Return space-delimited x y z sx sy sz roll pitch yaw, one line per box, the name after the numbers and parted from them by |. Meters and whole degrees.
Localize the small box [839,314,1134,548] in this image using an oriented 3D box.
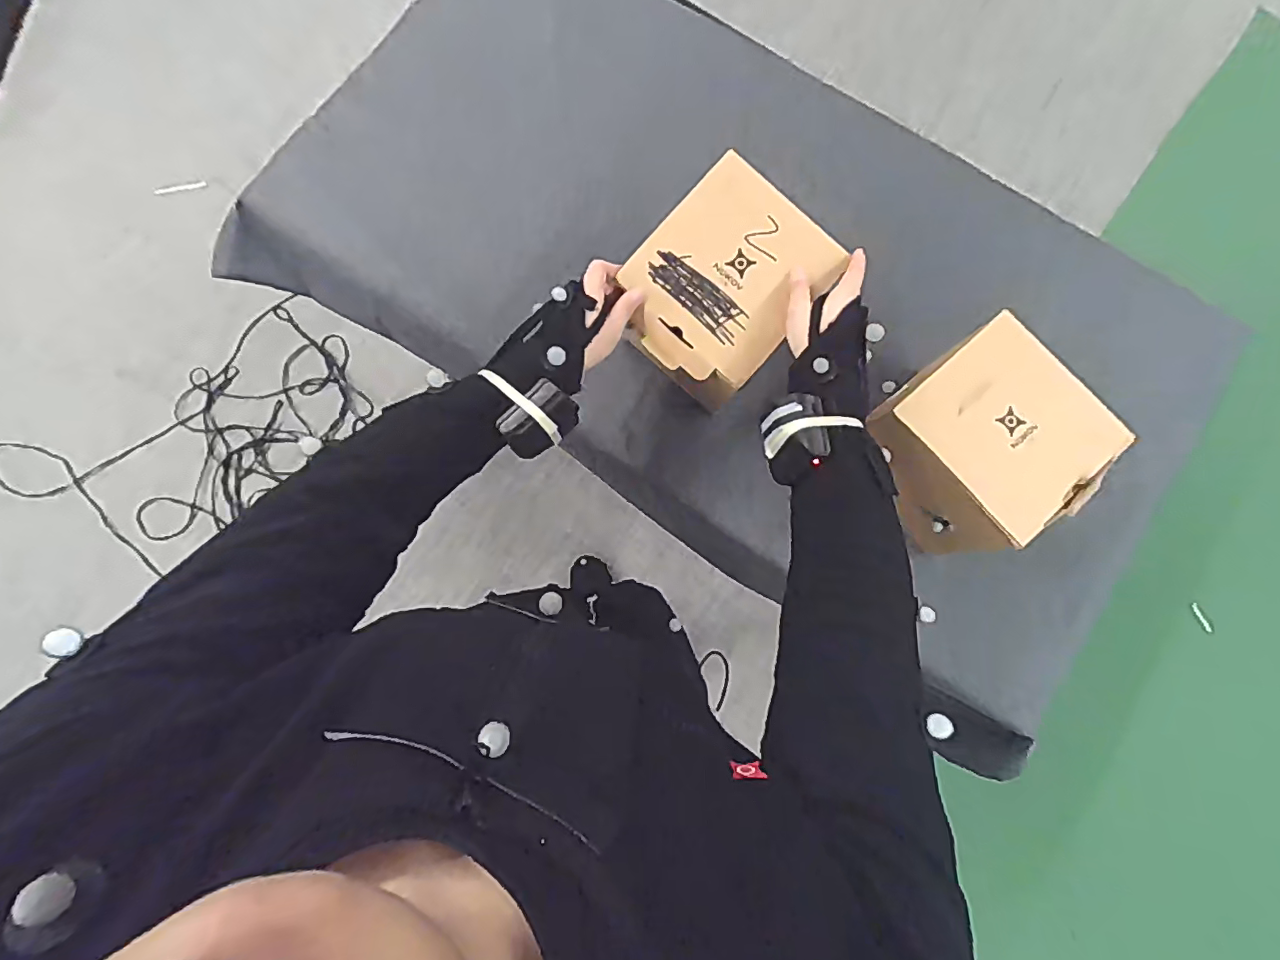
0.361 -0.040 0.601 0.168 0.176 0.179 -40 82 -7 | small box
